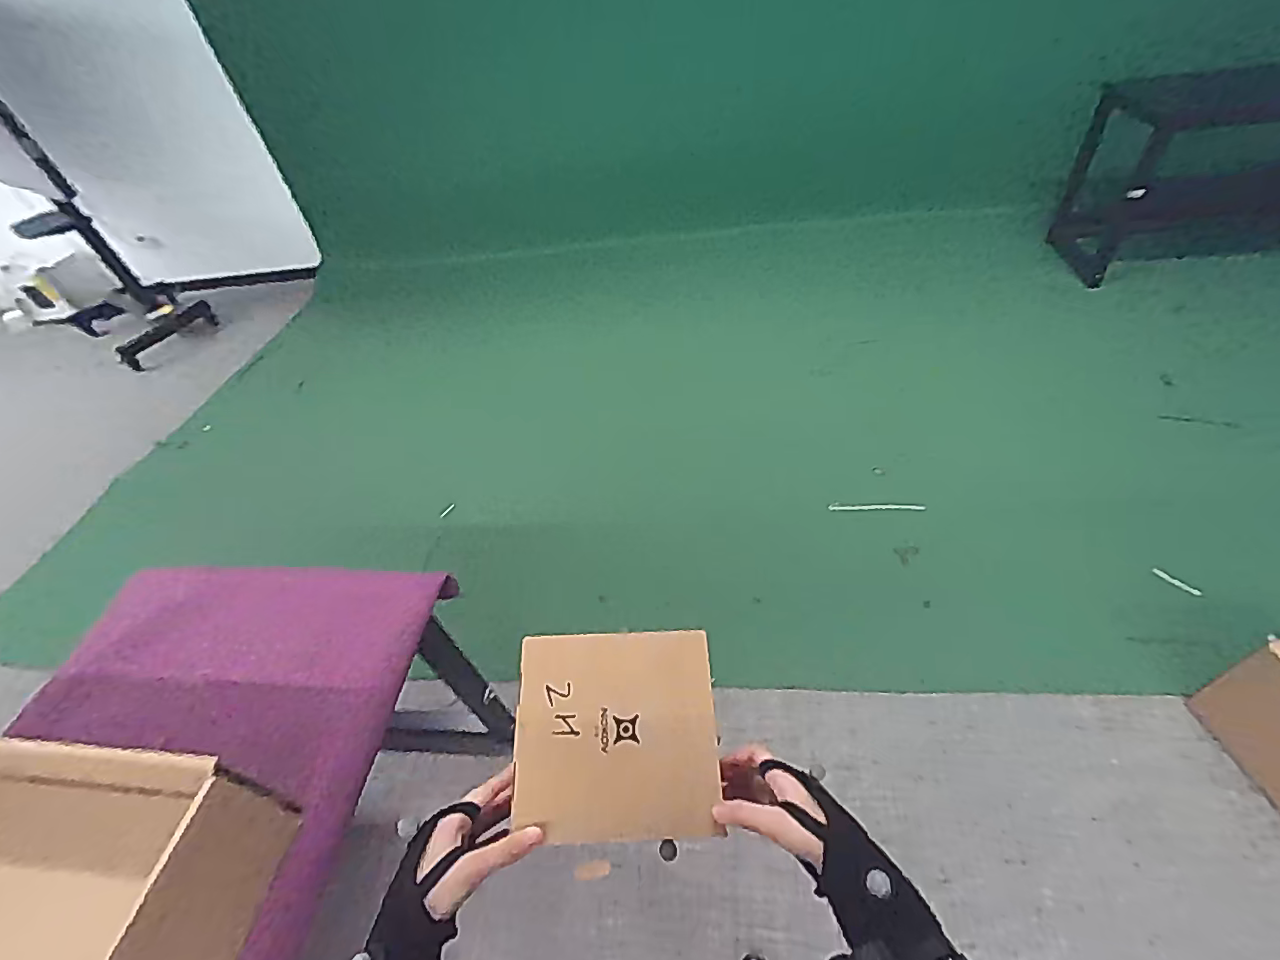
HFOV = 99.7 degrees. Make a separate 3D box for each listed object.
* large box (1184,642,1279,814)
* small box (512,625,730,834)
[{"bbox_3d":[1.501,0.561,1.099,0.320,0.320,0.408,-11,43,-2],"label":"large box"},{"bbox_3d":[-0.018,0.247,0.536,0.179,0.176,0.168,-1,59,-1],"label":"small box"}]
